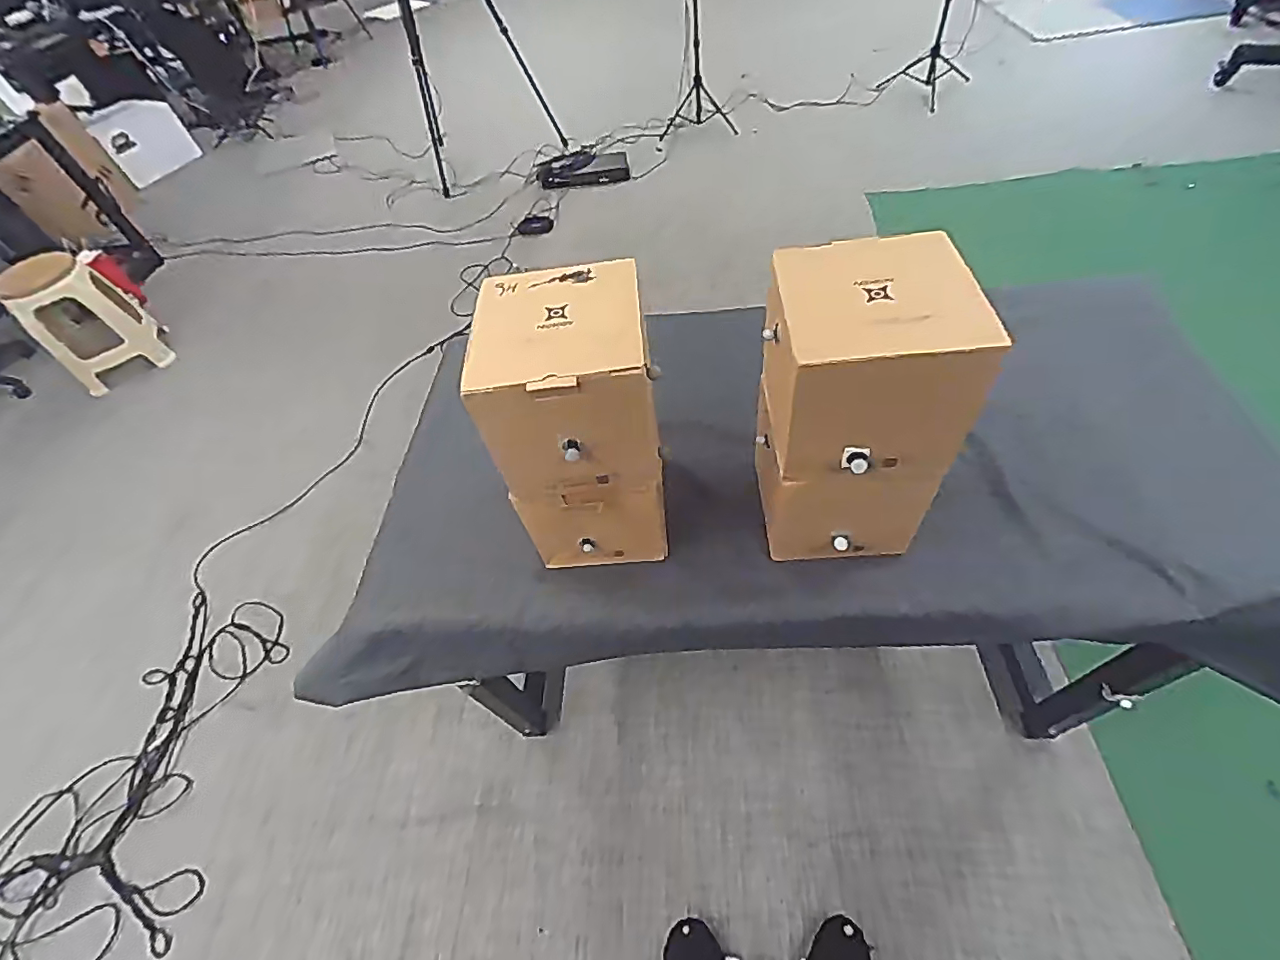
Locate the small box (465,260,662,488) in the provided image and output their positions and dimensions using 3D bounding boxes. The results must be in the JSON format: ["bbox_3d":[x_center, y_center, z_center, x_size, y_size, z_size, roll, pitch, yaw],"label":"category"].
[{"bbox_3d":[-0.068,-0.104,0.582,0.168,0.176,0.179,-6,53,4],"label":"small box"}]

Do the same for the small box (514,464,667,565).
[{"bbox_3d":[-0.054,-0.007,0.713,0.168,0.176,0.179,-5,52,4],"label":"small box"}]

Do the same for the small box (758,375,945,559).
[{"bbox_3d":[0.242,-0.020,0.673,0.168,0.176,0.179,-4,52,6],"label":"small box"}]

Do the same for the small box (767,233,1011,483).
[{"bbox_3d":[0.223,-0.118,0.545,0.168,0.176,0.179,-5,52,7],"label":"small box"}]
